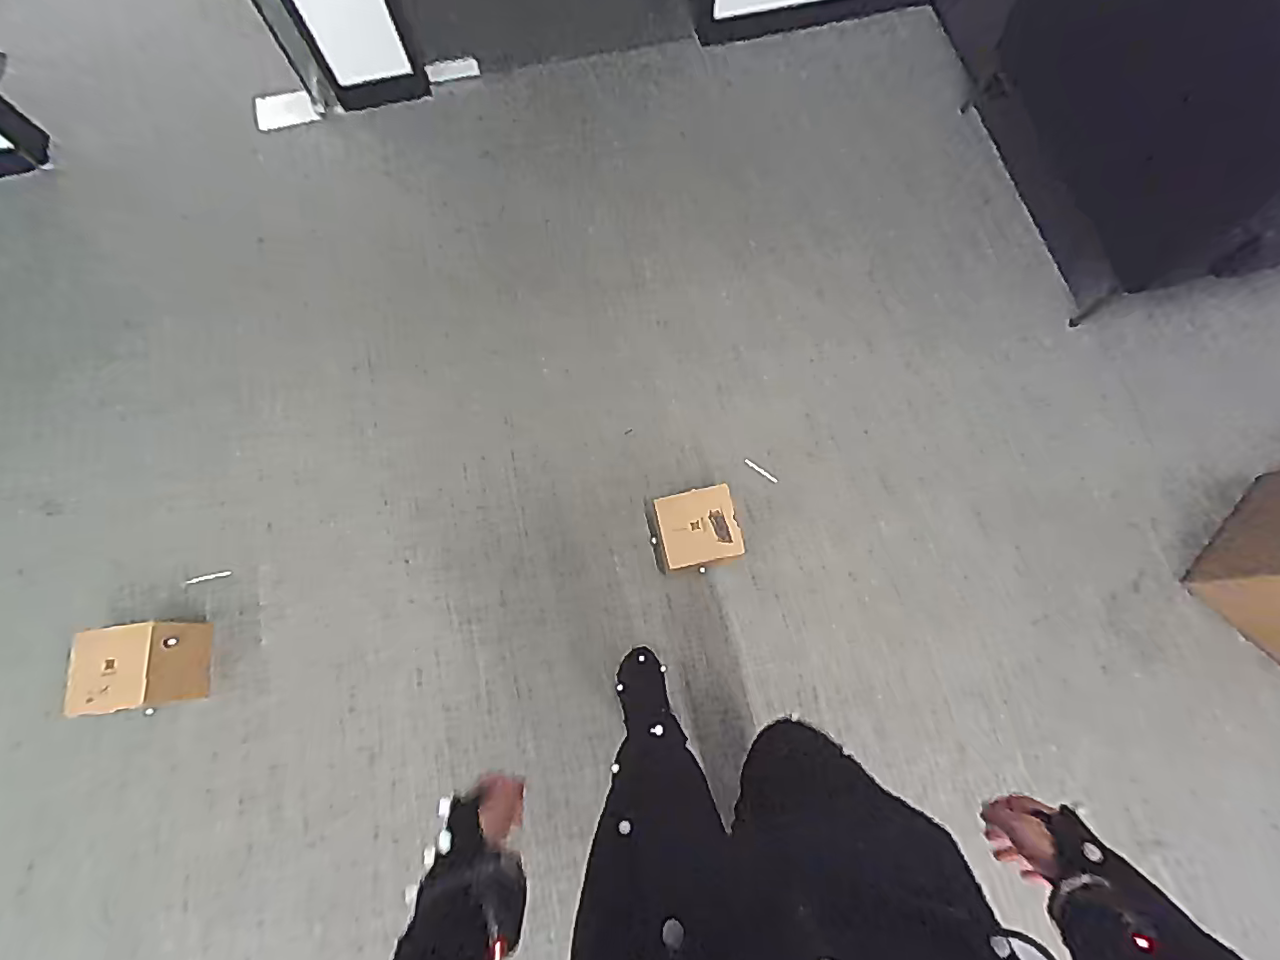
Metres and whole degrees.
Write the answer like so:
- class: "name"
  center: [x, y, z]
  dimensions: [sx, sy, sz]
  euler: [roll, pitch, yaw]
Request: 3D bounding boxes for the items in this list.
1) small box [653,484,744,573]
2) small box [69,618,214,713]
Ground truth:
- class: "small box"
  center: [0.133, 0.121, 1.297]
  dimensions: [0.179, 0.176, 0.168]
  euler: [-12, 75, -2]
- class: "small box"
  center: [-1.102, 0.411, 1.213]
  dimensions: [0.168, 0.176, 0.179]
  euler: [-8, 74, -1]
